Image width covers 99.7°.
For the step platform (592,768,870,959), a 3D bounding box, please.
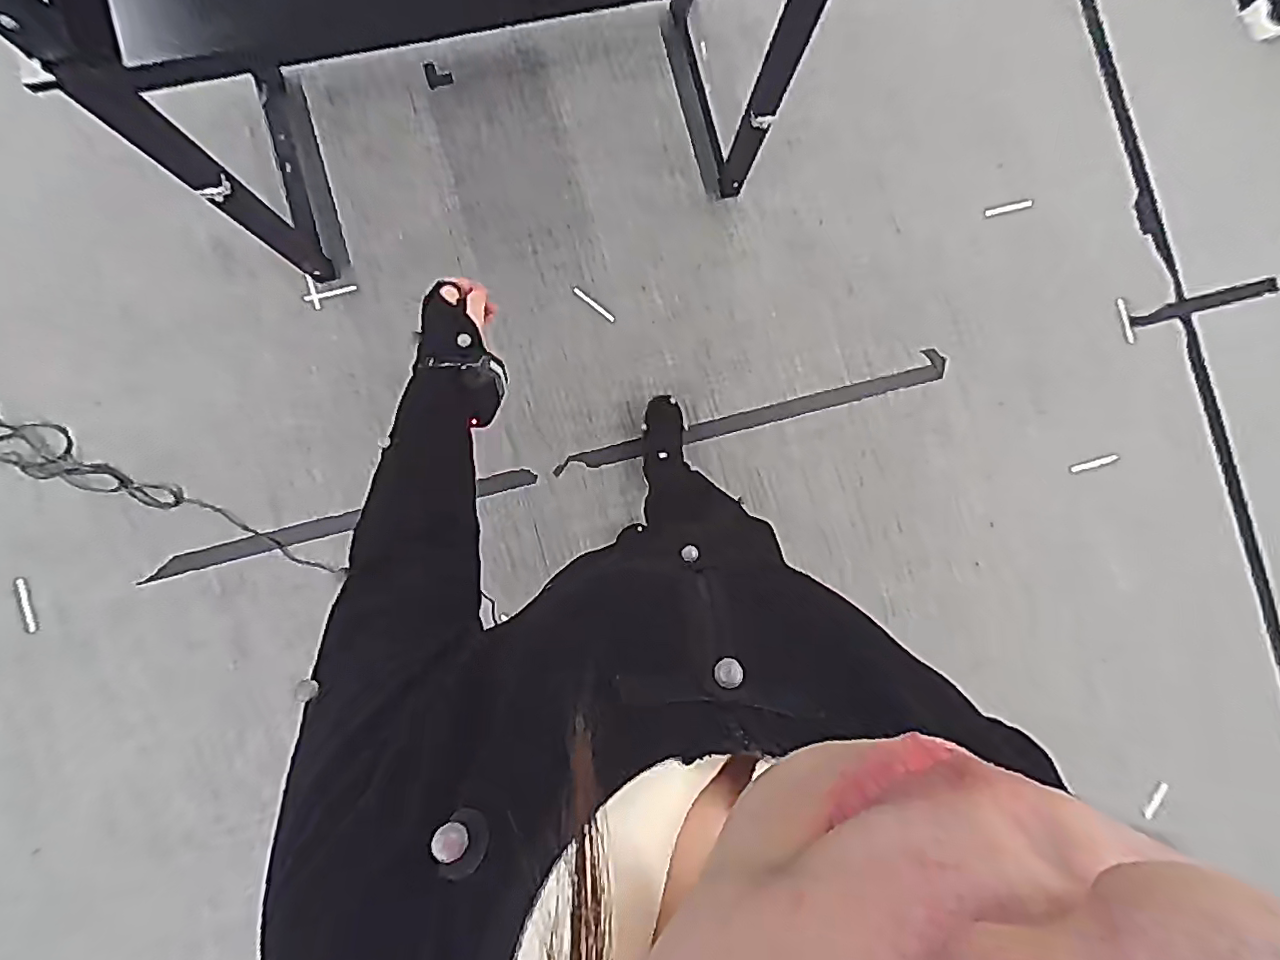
[{"bbox_3d":[0.225,0.976,1.378,0.684,0.204,0.286,-9,89,-6],"label":"step platform"}]
